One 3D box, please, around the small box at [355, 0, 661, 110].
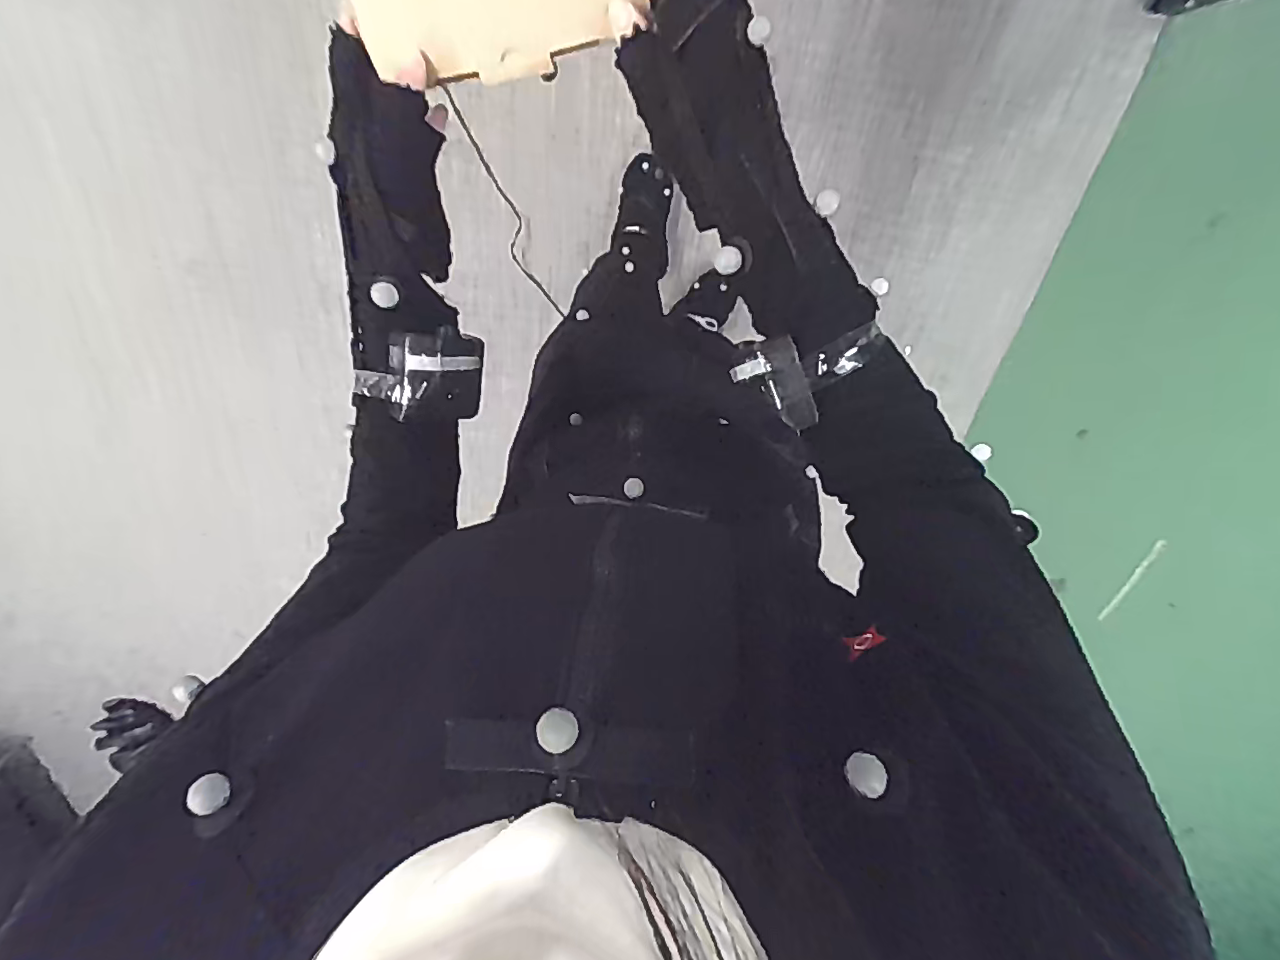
[{"bbox_3d":[-0.080,-0.355,0.322,0.168,0.176,0.179,-7,132,10],"label":"small box"}]
